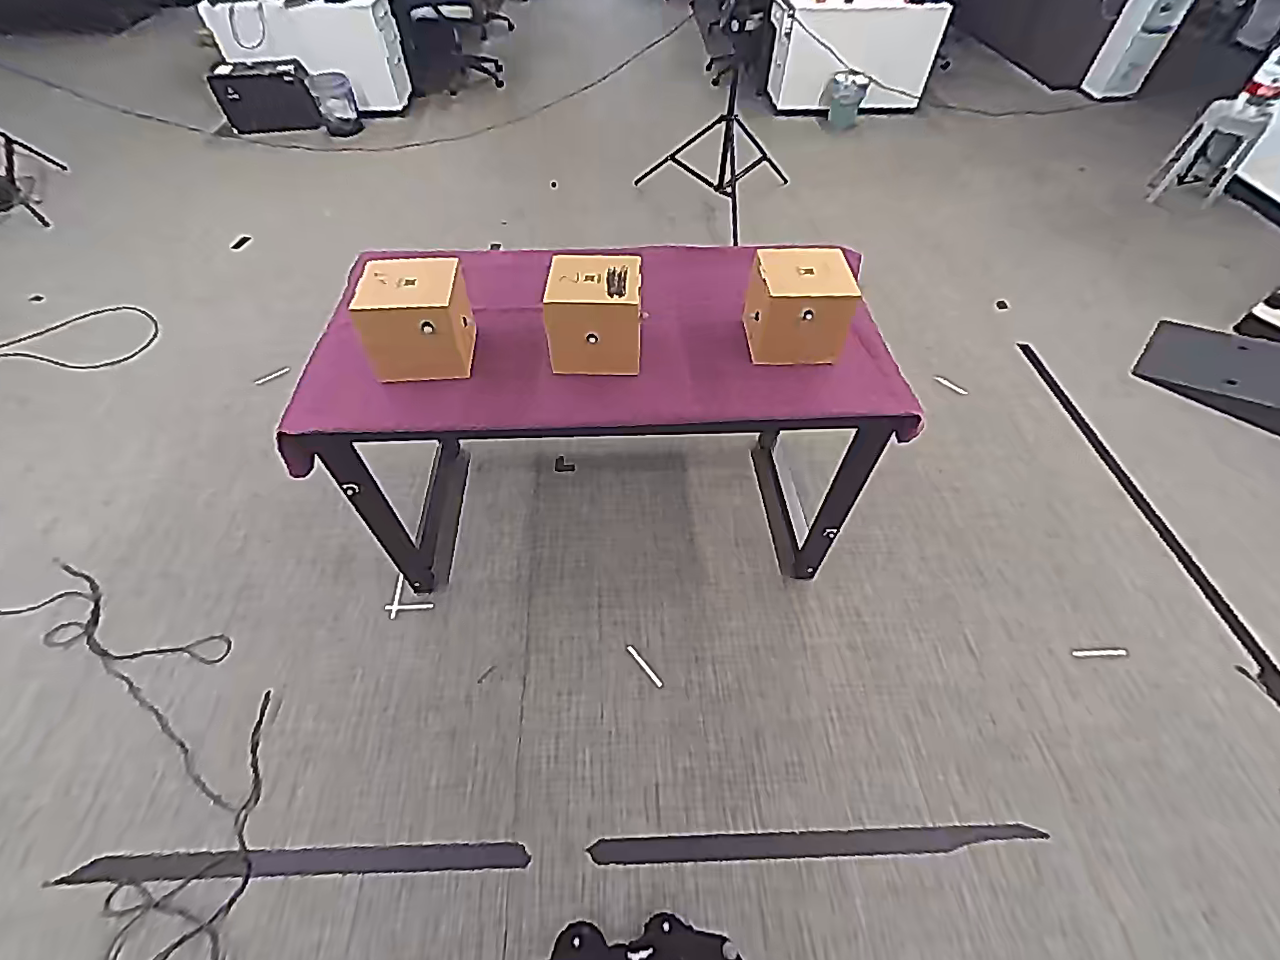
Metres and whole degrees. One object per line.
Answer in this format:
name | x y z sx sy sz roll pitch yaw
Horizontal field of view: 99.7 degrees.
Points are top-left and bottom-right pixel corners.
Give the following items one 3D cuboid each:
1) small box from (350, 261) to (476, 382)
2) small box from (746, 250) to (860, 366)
small box | -0.431 -0.309 1.063 0.179 0.176 0.168 -4 51 -4
small box | 0.319 -0.350 1.109 0.179 0.176 0.168 -1 53 -2
